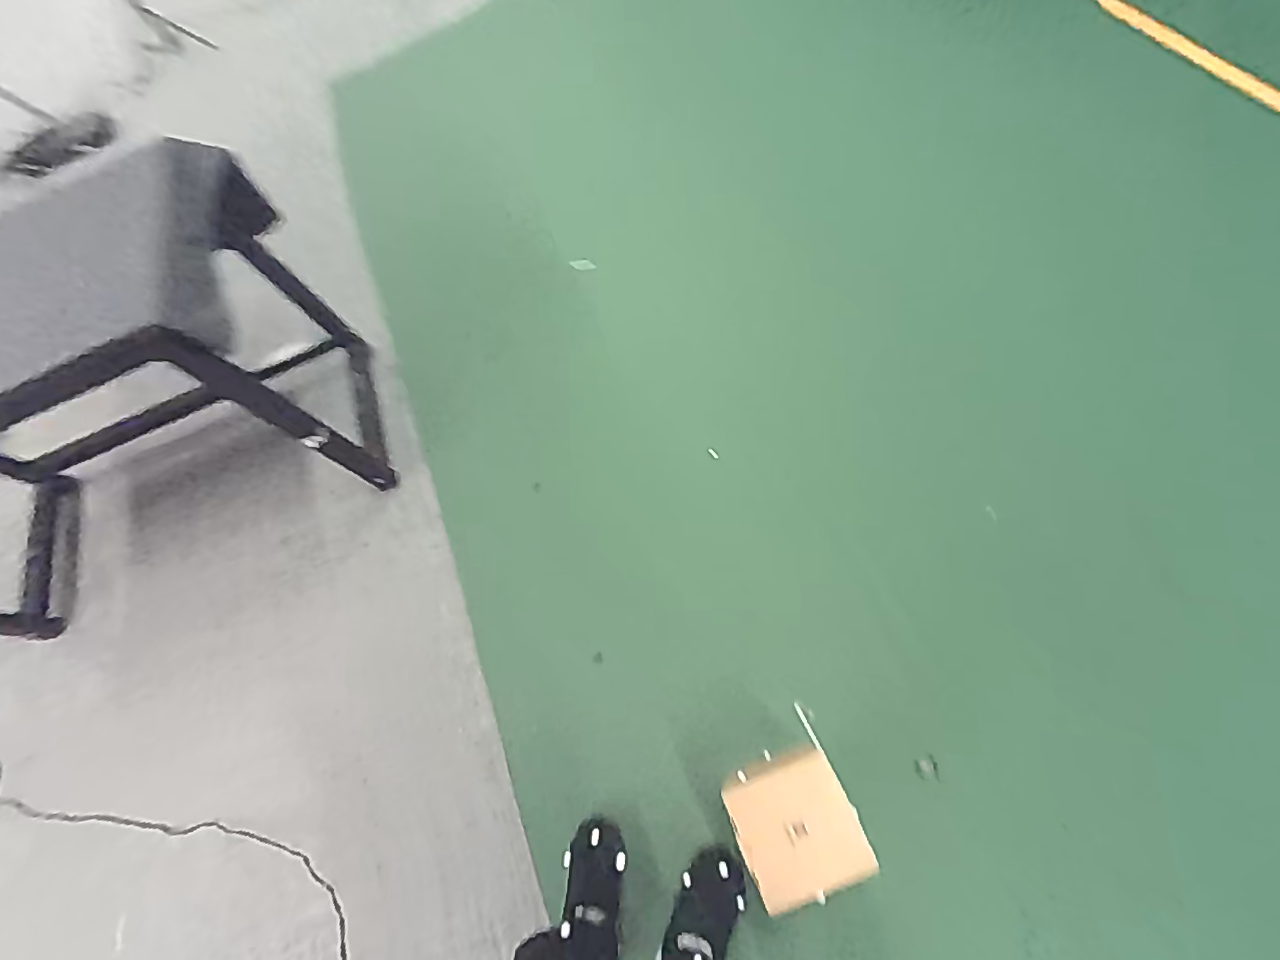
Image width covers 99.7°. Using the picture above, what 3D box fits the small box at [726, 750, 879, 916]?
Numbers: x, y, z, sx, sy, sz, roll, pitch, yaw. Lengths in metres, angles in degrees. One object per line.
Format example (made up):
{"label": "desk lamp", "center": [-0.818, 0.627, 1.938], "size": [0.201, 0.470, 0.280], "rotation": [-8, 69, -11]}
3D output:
{"label": "small box", "center": [0.252, 0.559, 0.884], "size": [0.179, 0.176, 0.168], "rotation": [-24, 64, 1]}
